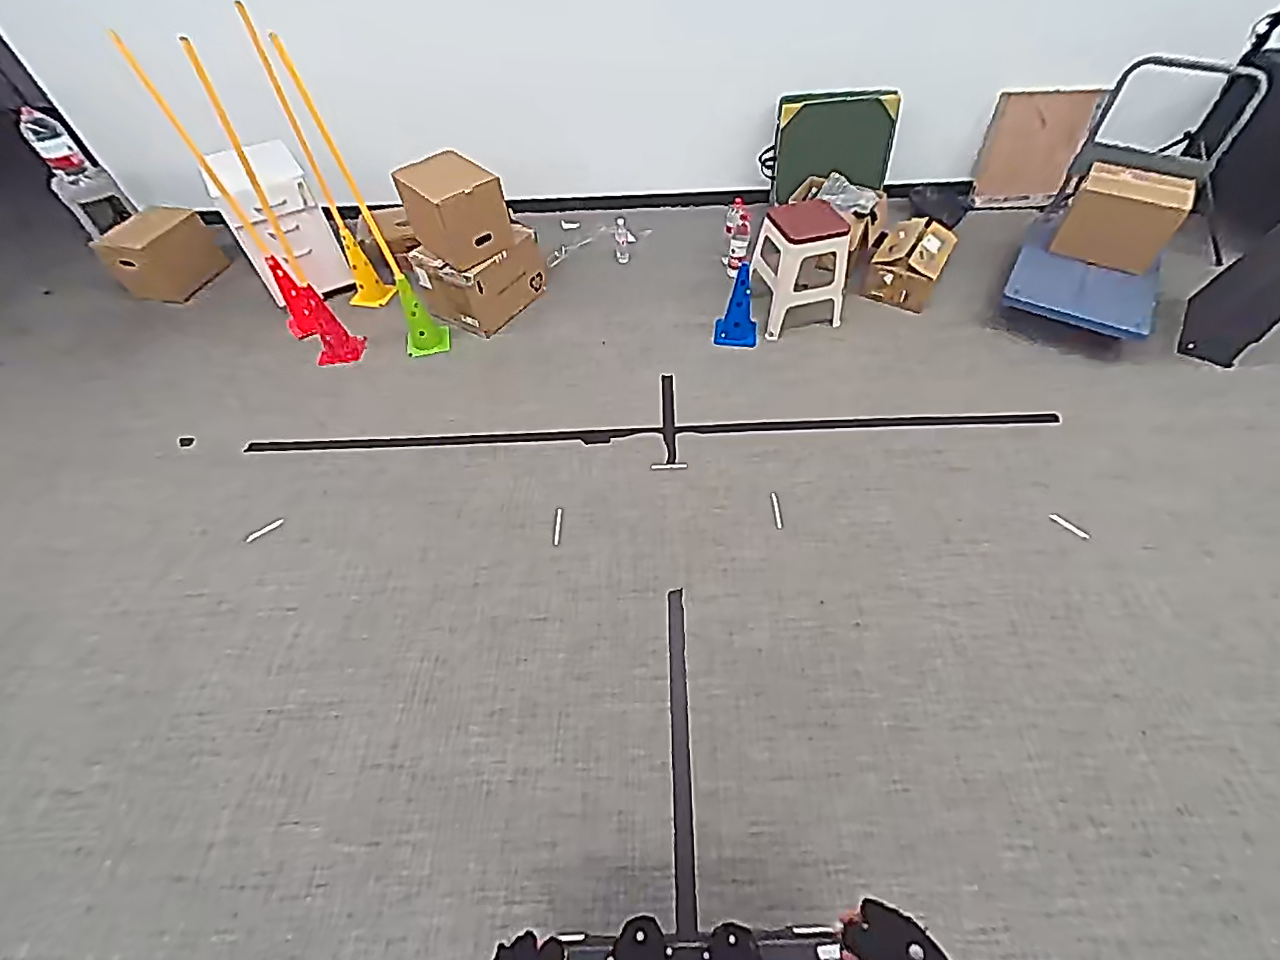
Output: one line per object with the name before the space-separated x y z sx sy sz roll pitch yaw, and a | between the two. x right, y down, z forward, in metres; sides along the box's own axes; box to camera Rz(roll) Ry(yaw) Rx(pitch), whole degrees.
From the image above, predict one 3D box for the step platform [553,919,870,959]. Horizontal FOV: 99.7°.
step platform | 0.148 1.104 1.113 0.684 0.204 0.286 -2 52 -1
